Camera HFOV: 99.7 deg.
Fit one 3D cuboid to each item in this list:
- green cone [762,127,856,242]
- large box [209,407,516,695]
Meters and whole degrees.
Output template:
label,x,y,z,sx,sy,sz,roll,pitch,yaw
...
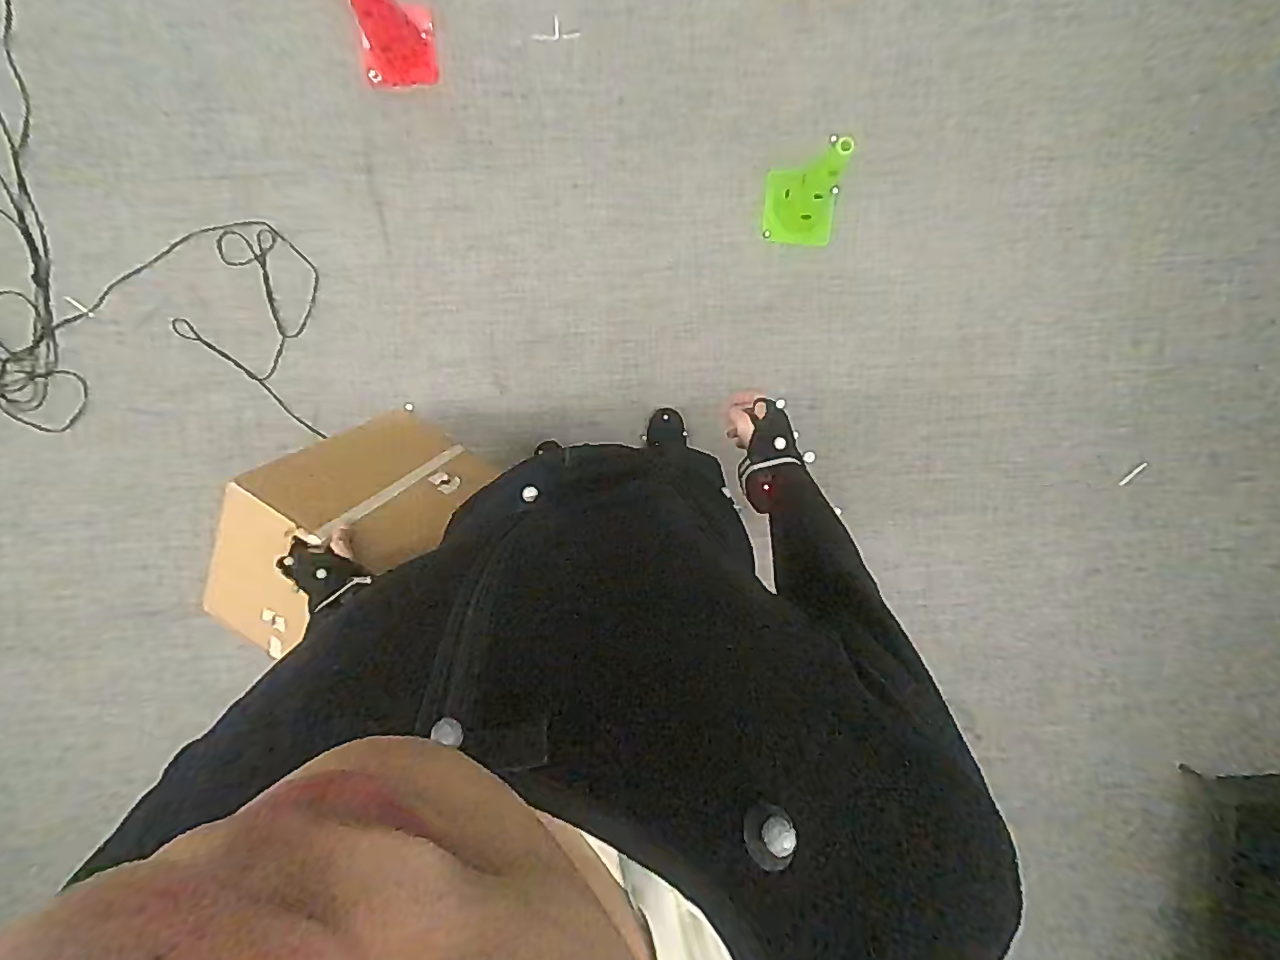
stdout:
label,x,y,z,sx,sy,sz,roll,pitch,yaw
green cone,0.460,-0.775,1.378,0.200,0.368,0.202,4,95,-2
large box,-0.509,0.115,1.048,0.320,0.408,0.320,34,117,-1
